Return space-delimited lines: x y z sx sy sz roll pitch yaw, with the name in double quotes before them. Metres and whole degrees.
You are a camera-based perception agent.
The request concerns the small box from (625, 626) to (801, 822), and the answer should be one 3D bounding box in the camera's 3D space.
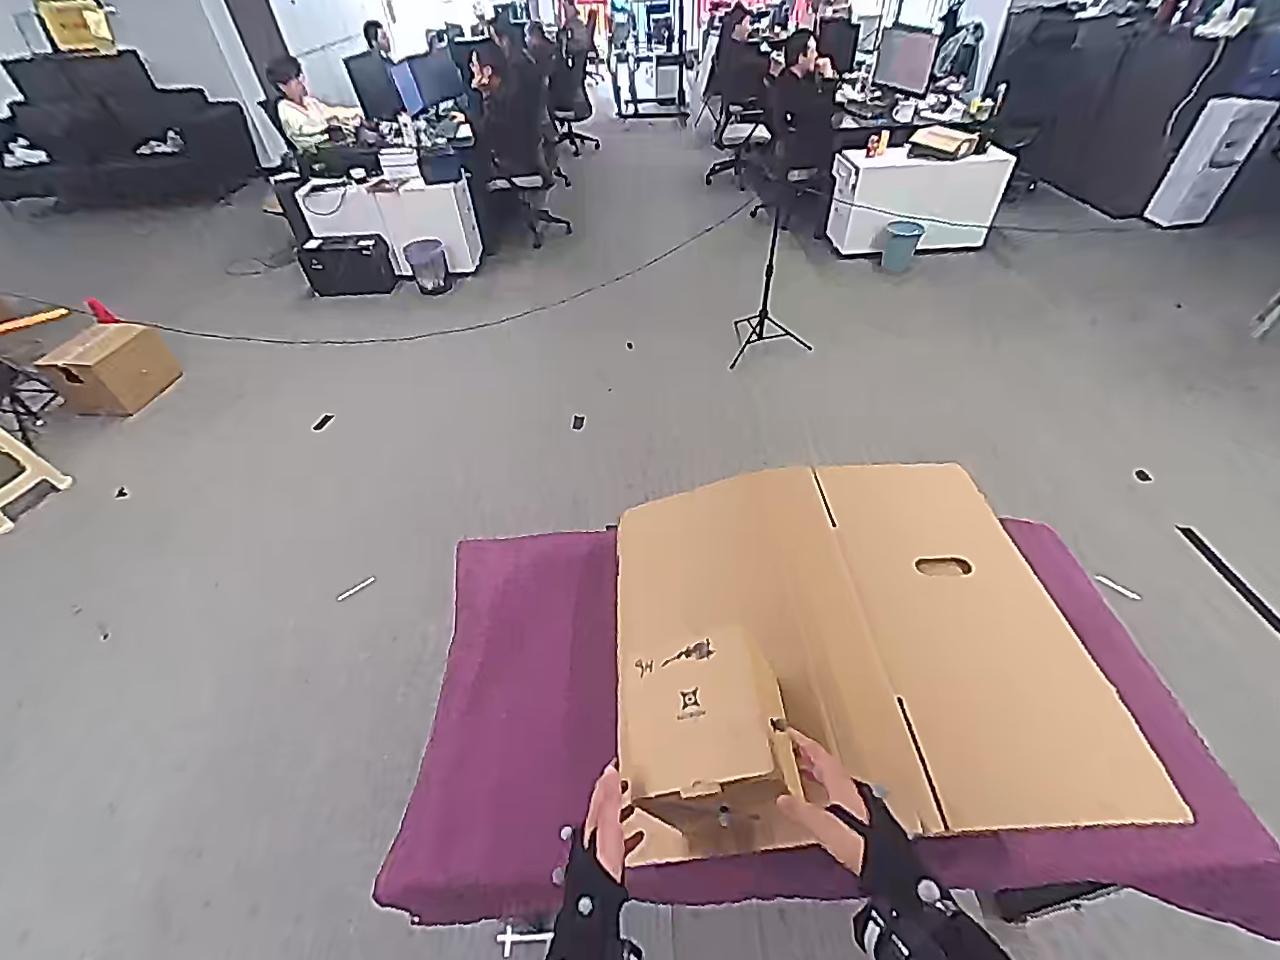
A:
"small box" 0.092 0.315 0.684 0.168 0.176 0.179 -19 44 15
